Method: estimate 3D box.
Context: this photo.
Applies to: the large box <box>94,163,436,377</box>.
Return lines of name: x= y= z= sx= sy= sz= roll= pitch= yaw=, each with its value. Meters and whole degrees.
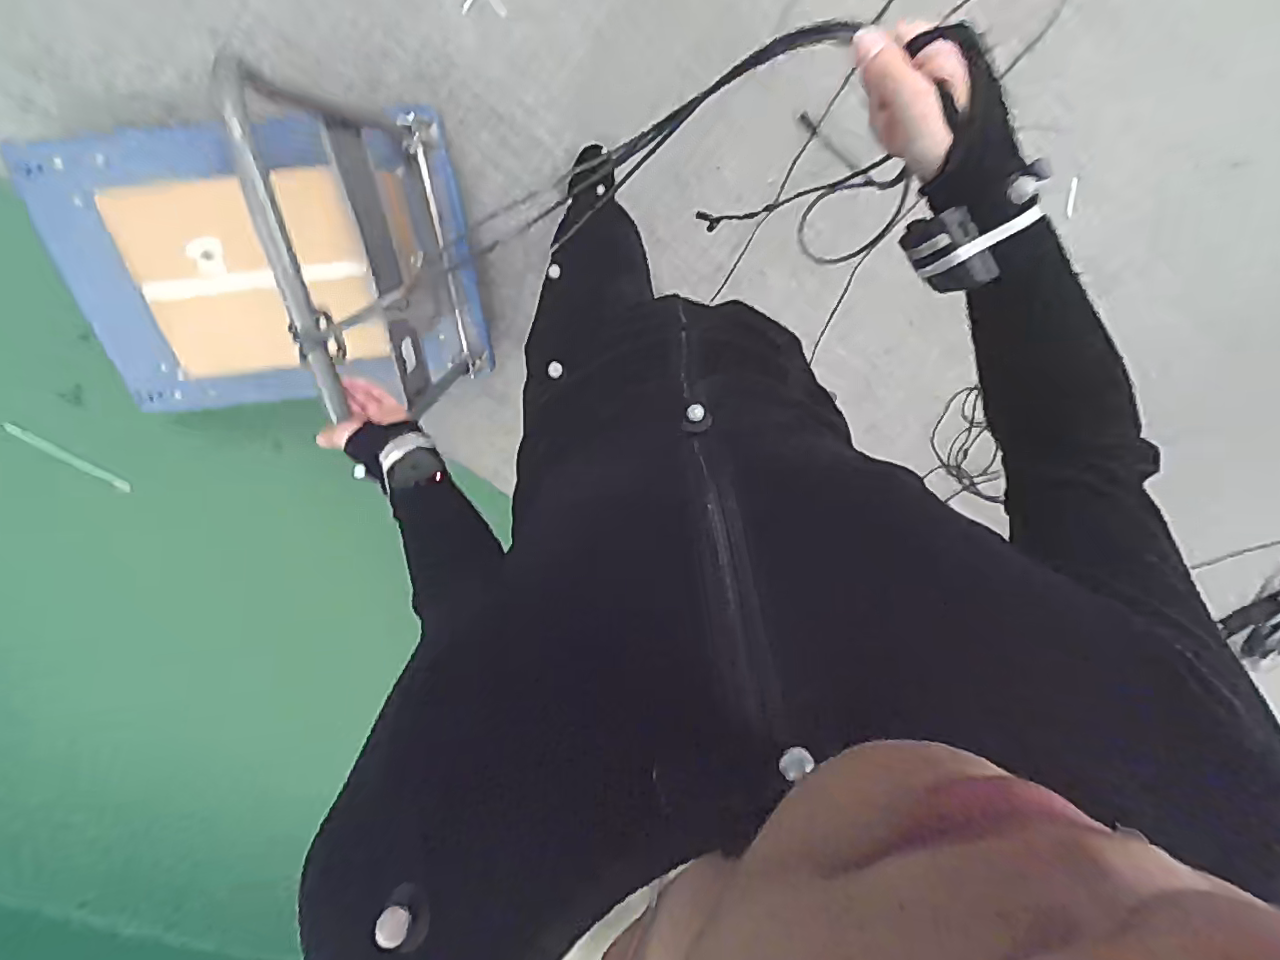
large box: x=-0.678 y=-0.422 z=1.071 sx=0.408 sy=0.320 sz=0.320 roll=-7 pitch=118 yaw=-1
